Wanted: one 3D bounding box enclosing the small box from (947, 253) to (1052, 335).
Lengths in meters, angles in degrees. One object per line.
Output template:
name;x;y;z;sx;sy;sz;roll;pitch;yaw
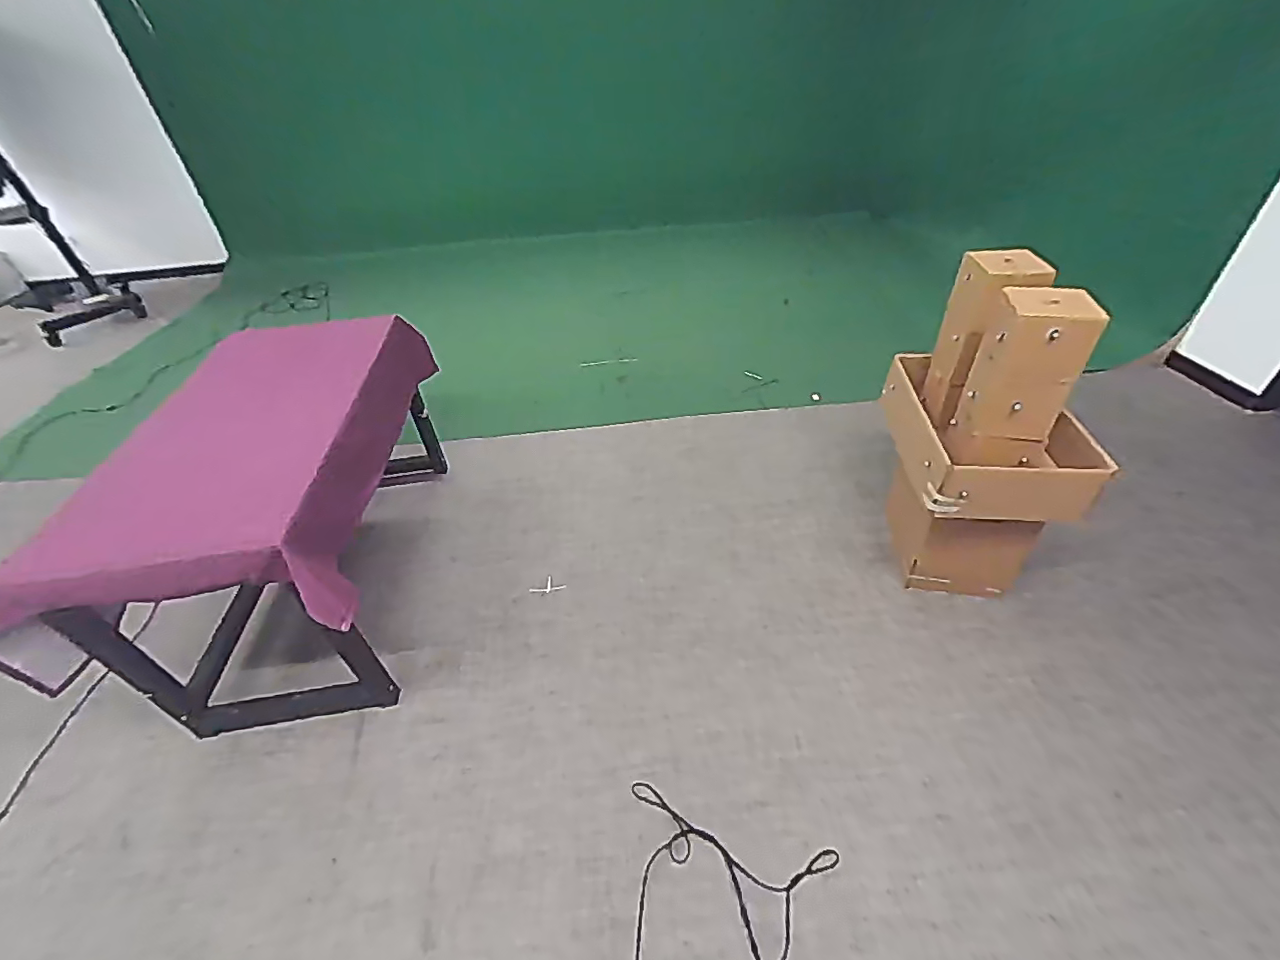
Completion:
small box;0.992;-0.521;1.515;0.168;0.176;0.179;0;42;6

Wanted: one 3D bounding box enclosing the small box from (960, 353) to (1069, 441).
small box;0.961;-0.217;1.412;0.179;0.176;0.168;6;42;12

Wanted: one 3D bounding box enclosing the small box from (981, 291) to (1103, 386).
small box;0.952;-0.342;1.306;0.179;0.176;0.168;8;42;12

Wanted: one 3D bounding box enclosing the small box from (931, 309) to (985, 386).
small box;1.004;-0.398;1.624;0.168;0.176;0.179;1;42;6
